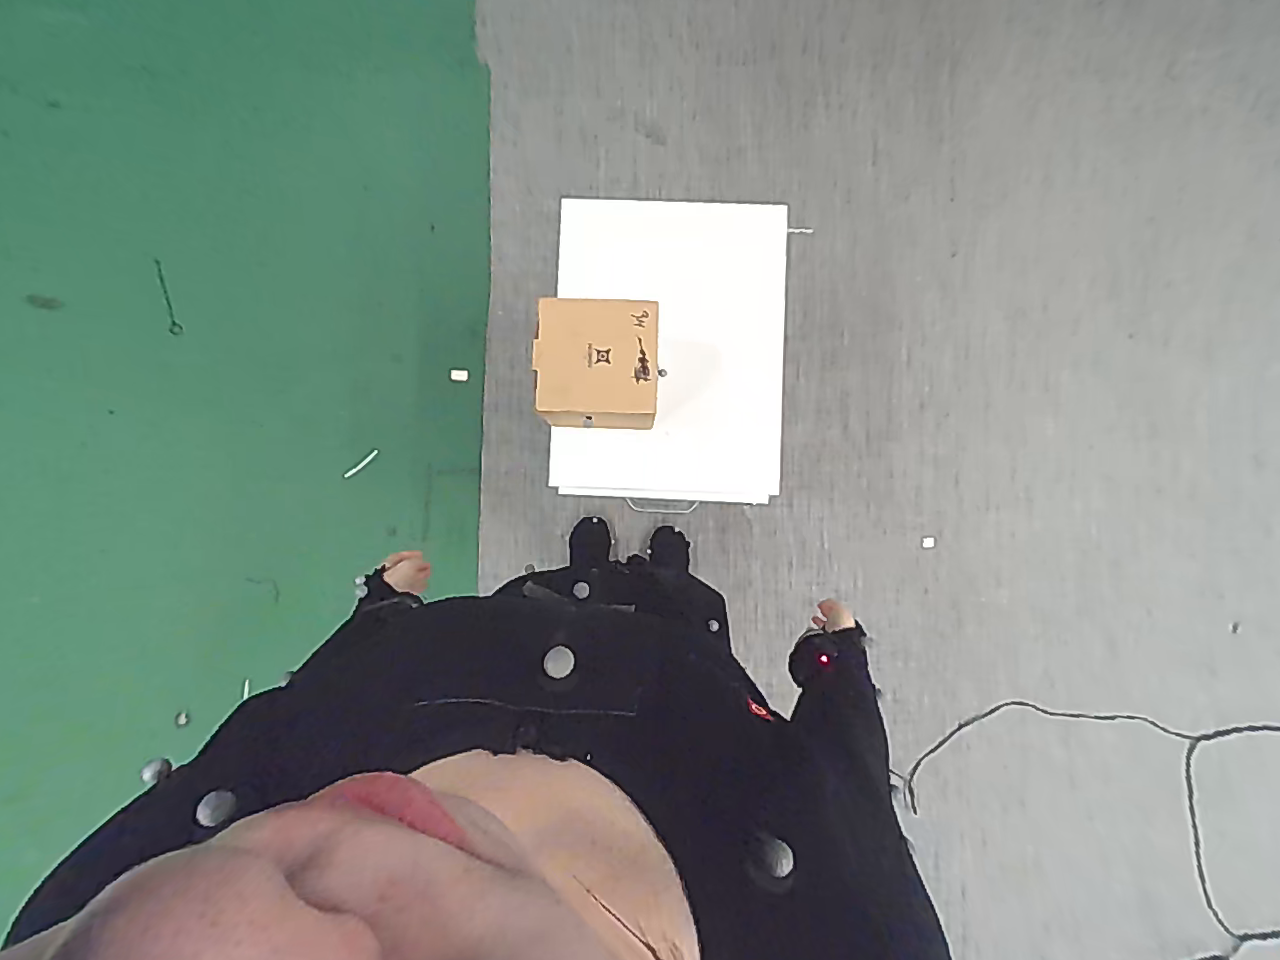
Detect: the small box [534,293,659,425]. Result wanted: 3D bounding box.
[{"bbox_3d":[-0.061,-0.180,0.847,0.179,0.176,0.168,1,88,0],"label":"small box"}]
